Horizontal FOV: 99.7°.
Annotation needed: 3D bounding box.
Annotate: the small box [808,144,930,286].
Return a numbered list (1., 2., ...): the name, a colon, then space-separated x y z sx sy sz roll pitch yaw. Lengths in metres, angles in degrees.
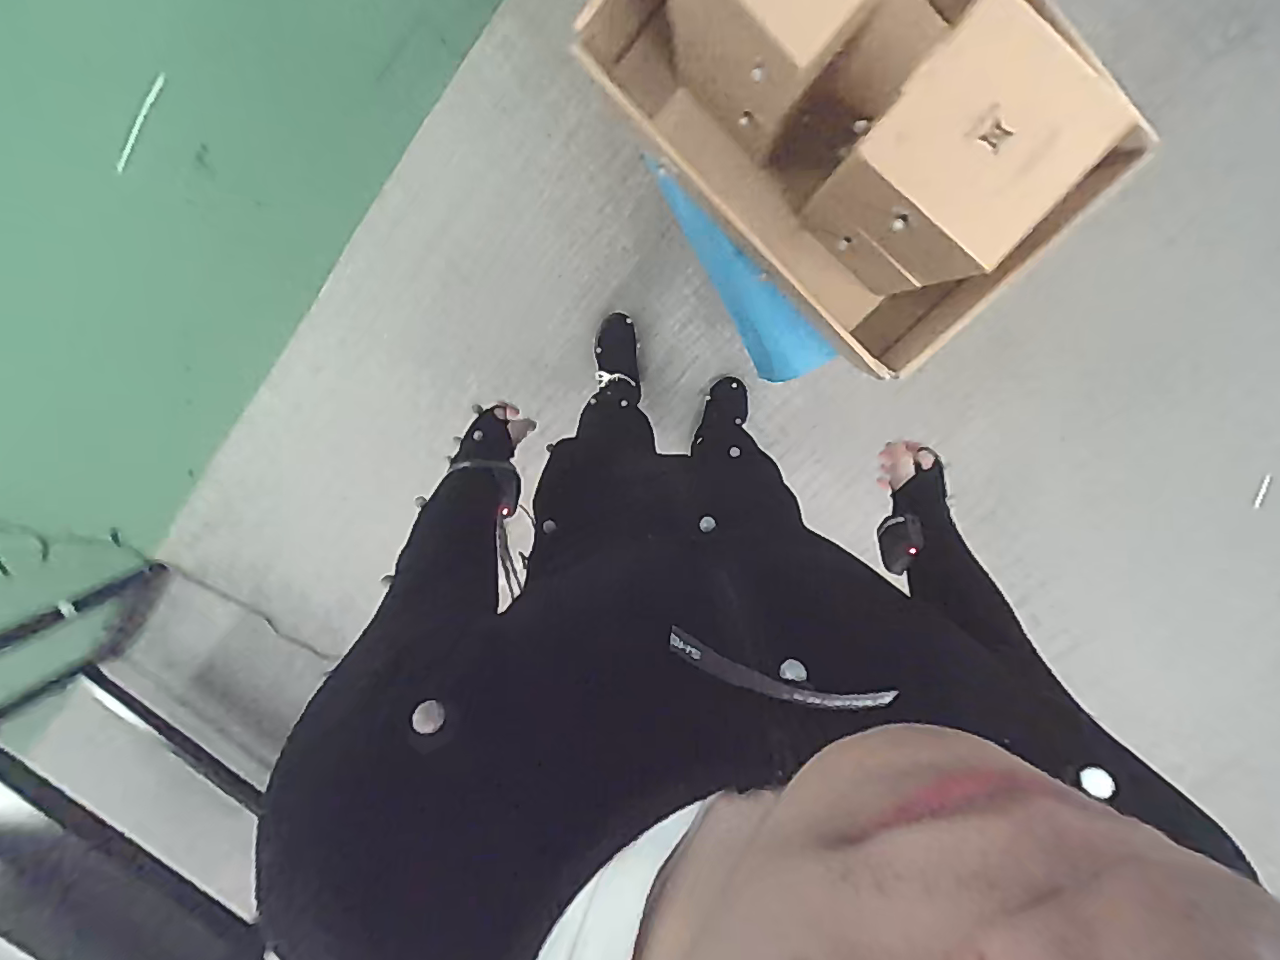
1. small box: 0.348 -0.378 0.718 0.179 0.176 0.168 42 107 -4

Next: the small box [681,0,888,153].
1. small box: 0.169 -0.562 0.690 0.179 0.176 0.168 43 107 -8

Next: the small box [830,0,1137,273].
1. small box: 0.327 -0.336 0.561 0.179 0.176 0.168 40 107 -5
